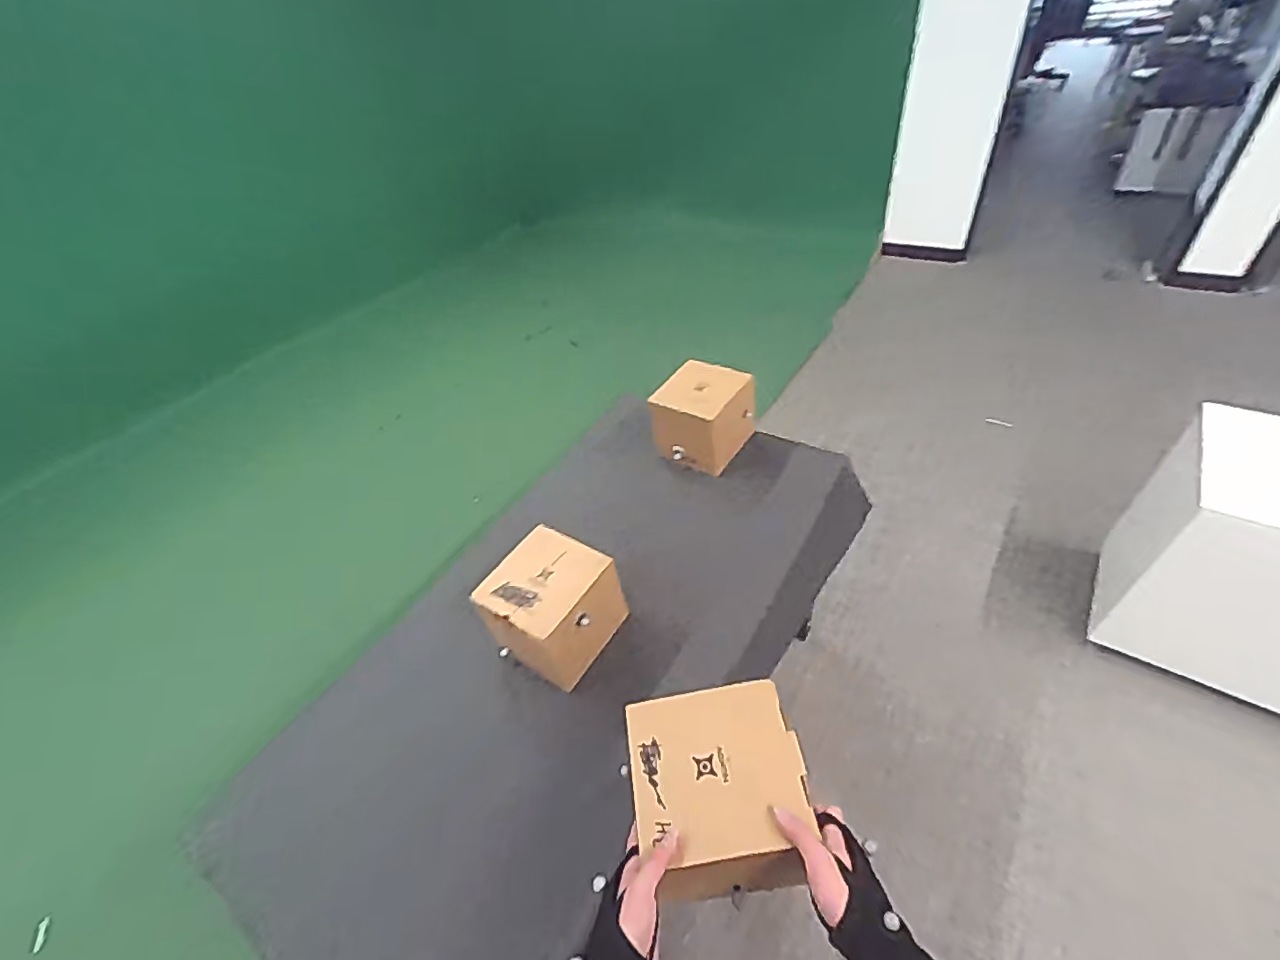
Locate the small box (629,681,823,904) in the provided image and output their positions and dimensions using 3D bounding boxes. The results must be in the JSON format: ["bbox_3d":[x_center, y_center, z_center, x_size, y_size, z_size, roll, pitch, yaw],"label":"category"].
[{"bbox_3d":[0.088,0.354,0.613,0.179,0.176,0.168,-10,41,1],"label":"small box"}]

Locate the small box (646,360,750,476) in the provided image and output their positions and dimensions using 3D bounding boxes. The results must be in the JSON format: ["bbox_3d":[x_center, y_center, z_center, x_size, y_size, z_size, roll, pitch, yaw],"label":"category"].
[{"bbox_3d":[0.136,-0.142,1.224,0.168,0.176,0.179,22,54,30],"label":"small box"}]

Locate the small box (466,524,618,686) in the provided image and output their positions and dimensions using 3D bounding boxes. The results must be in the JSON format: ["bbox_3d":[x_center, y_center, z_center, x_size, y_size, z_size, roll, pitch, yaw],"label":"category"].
[{"bbox_3d":[-0.154,0.214,0.919,0.168,0.176,0.179,21,51,29],"label":"small box"}]
